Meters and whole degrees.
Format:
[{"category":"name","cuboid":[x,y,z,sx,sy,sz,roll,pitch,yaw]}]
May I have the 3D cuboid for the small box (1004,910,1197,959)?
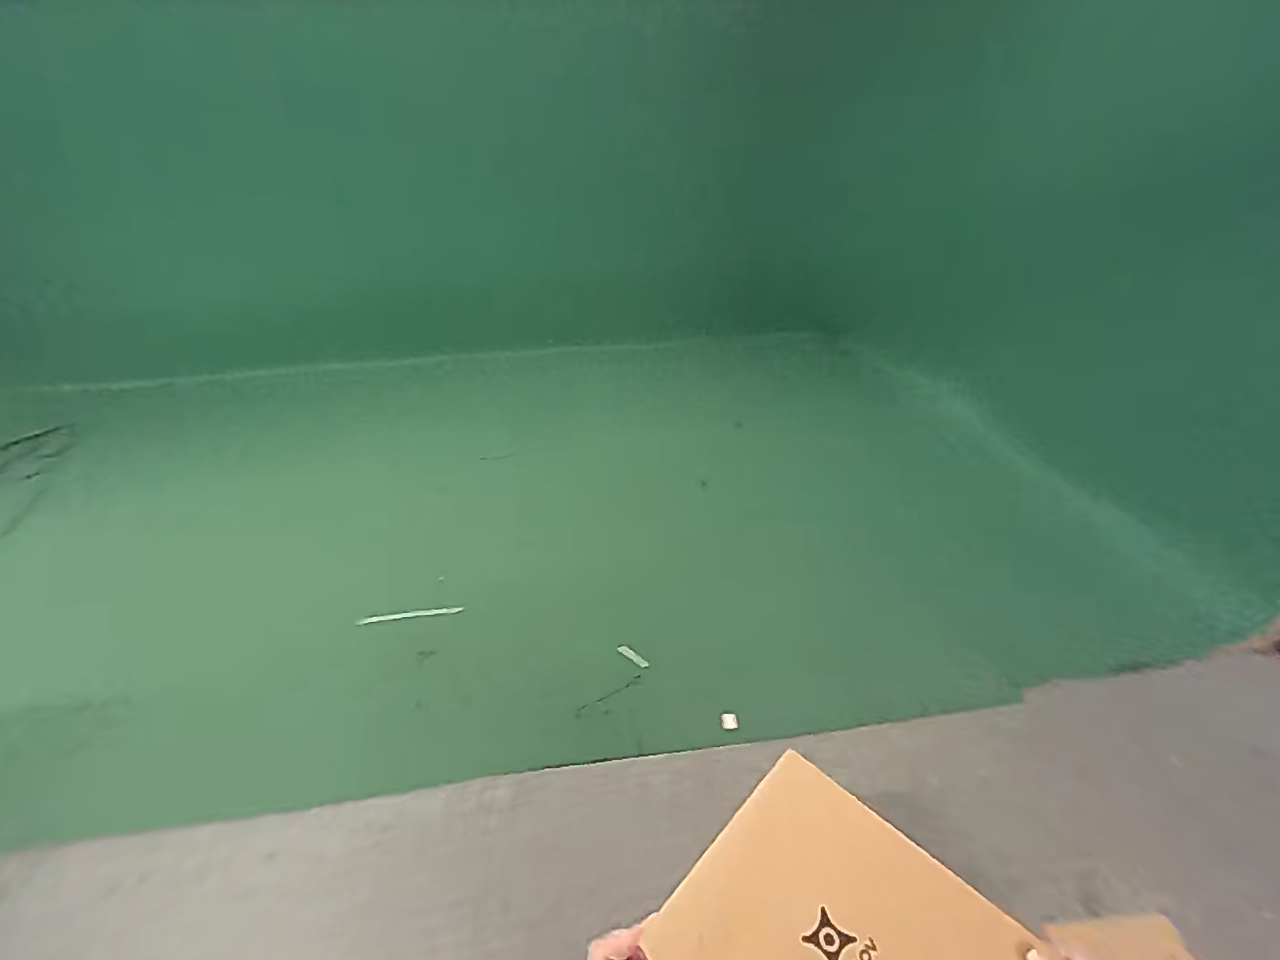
[{"category":"small box","cuboid":[0.625,0.695,0.706,0.179,0.176,0.168,-2,34,-5]}]
